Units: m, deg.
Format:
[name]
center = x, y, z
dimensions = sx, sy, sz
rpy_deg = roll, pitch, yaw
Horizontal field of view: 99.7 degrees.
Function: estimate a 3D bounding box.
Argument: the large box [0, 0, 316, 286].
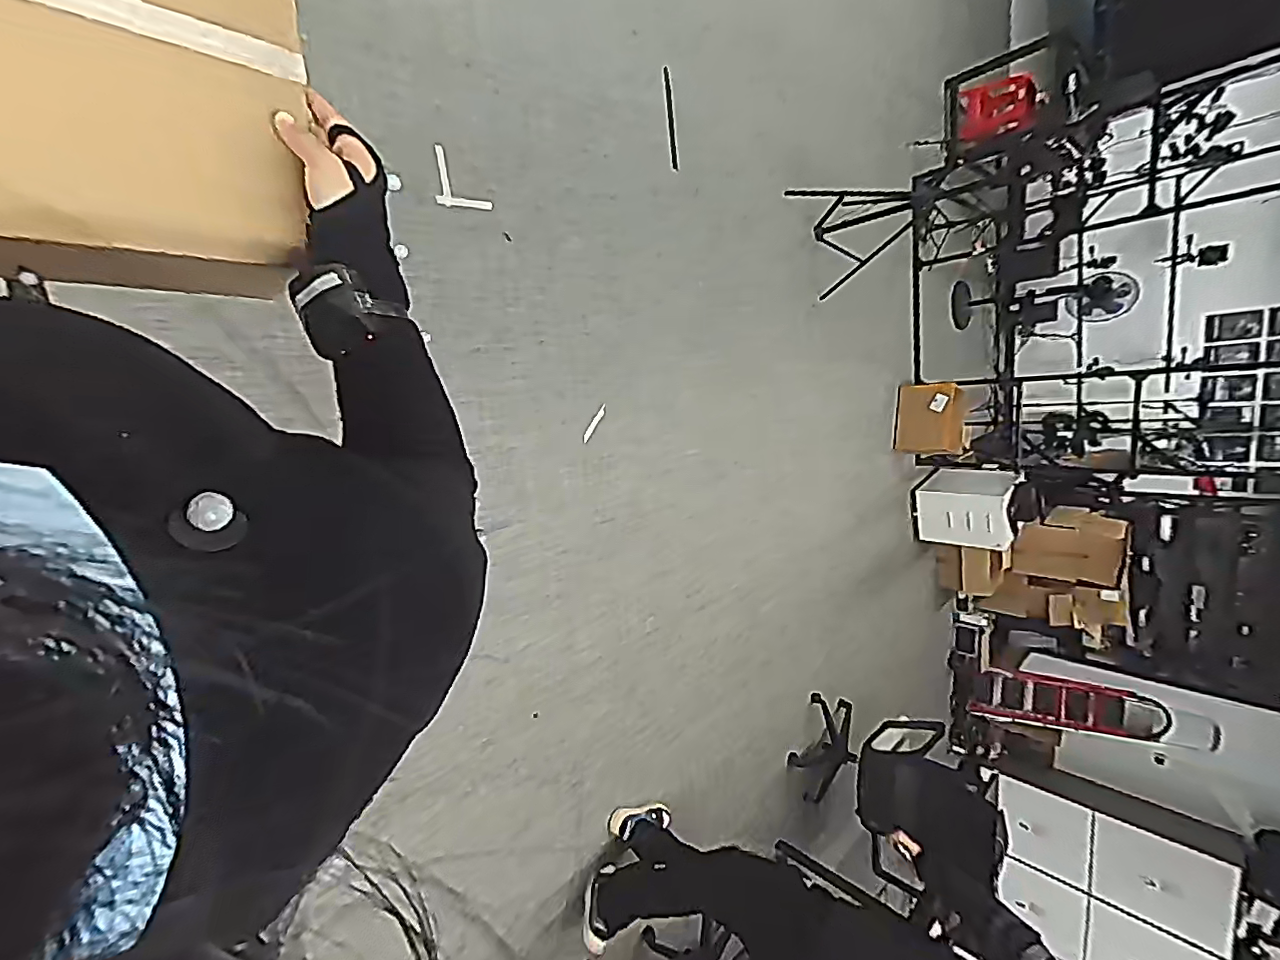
[large box]
center = -0.540, -0.346, 0.445
dimensions = 0.408, 0.320, 0.320
rpy_deg = -10, 105, -40
